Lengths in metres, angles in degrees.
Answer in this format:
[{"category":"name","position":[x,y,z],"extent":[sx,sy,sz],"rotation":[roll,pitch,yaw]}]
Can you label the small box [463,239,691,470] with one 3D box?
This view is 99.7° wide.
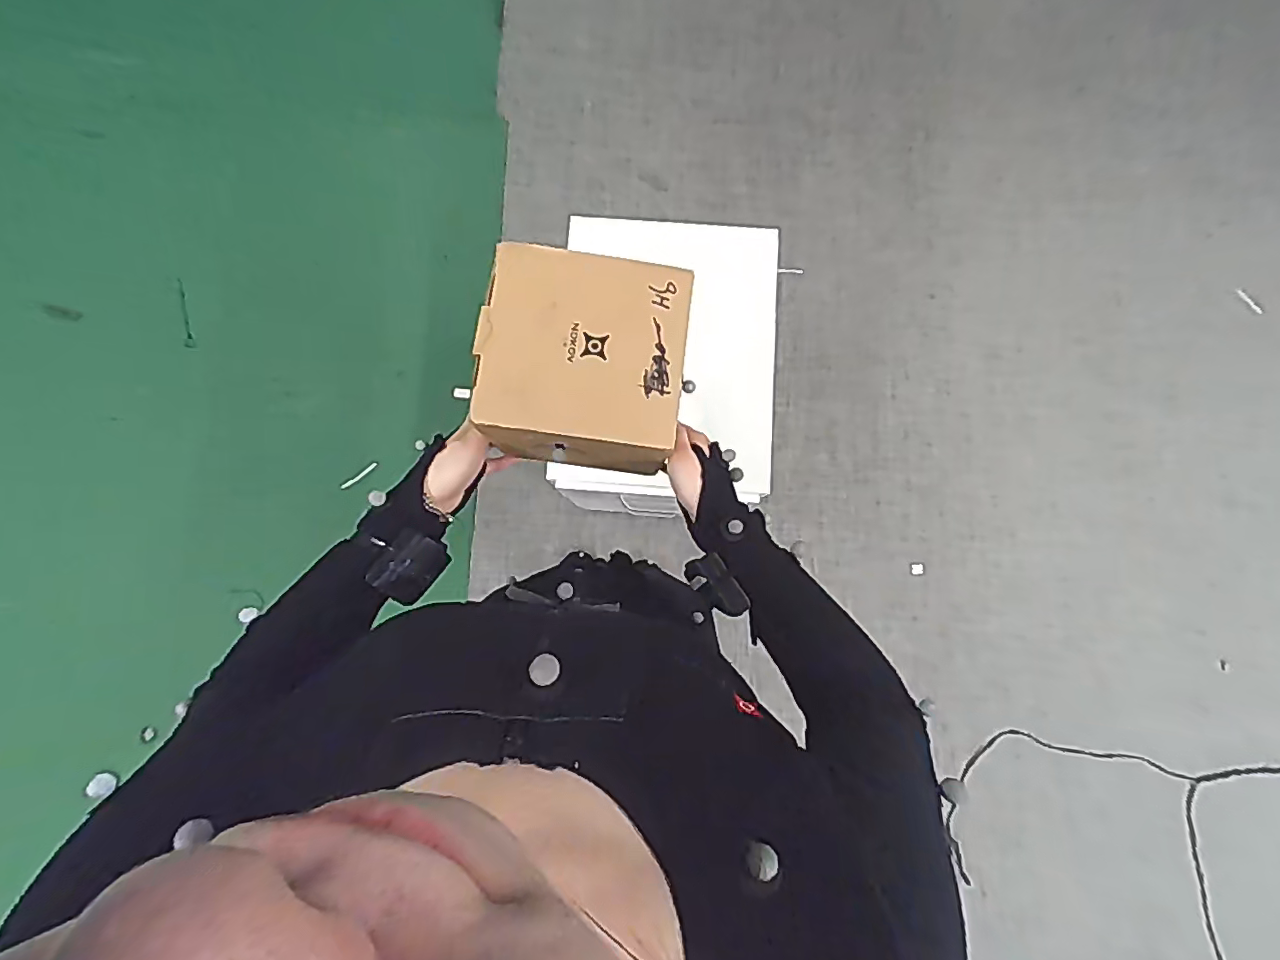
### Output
[{"category":"small box","position":[-0.055,-0.108,0.540],"extent":[0.179,0.176,0.168],"rotation":[8,83,-2]}]
